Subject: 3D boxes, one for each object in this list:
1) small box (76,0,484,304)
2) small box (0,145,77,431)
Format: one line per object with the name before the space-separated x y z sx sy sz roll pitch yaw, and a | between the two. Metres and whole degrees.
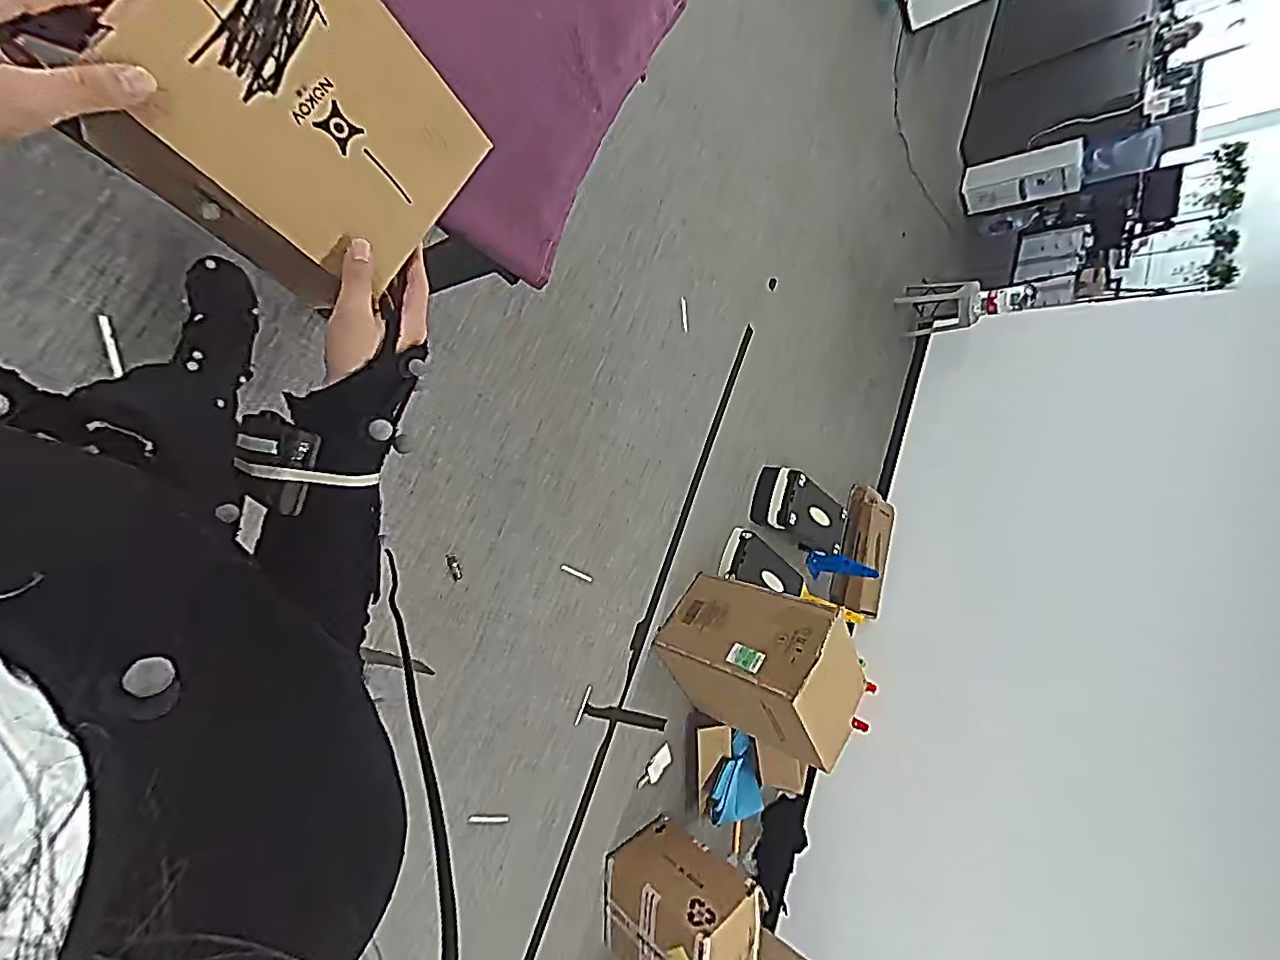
small box | -0.264 -0.252 0.410 0.179 0.176 0.168 43 72 -44
small box | -0.391 -0.081 0.213 0.179 0.176 0.168 24 115 -37
